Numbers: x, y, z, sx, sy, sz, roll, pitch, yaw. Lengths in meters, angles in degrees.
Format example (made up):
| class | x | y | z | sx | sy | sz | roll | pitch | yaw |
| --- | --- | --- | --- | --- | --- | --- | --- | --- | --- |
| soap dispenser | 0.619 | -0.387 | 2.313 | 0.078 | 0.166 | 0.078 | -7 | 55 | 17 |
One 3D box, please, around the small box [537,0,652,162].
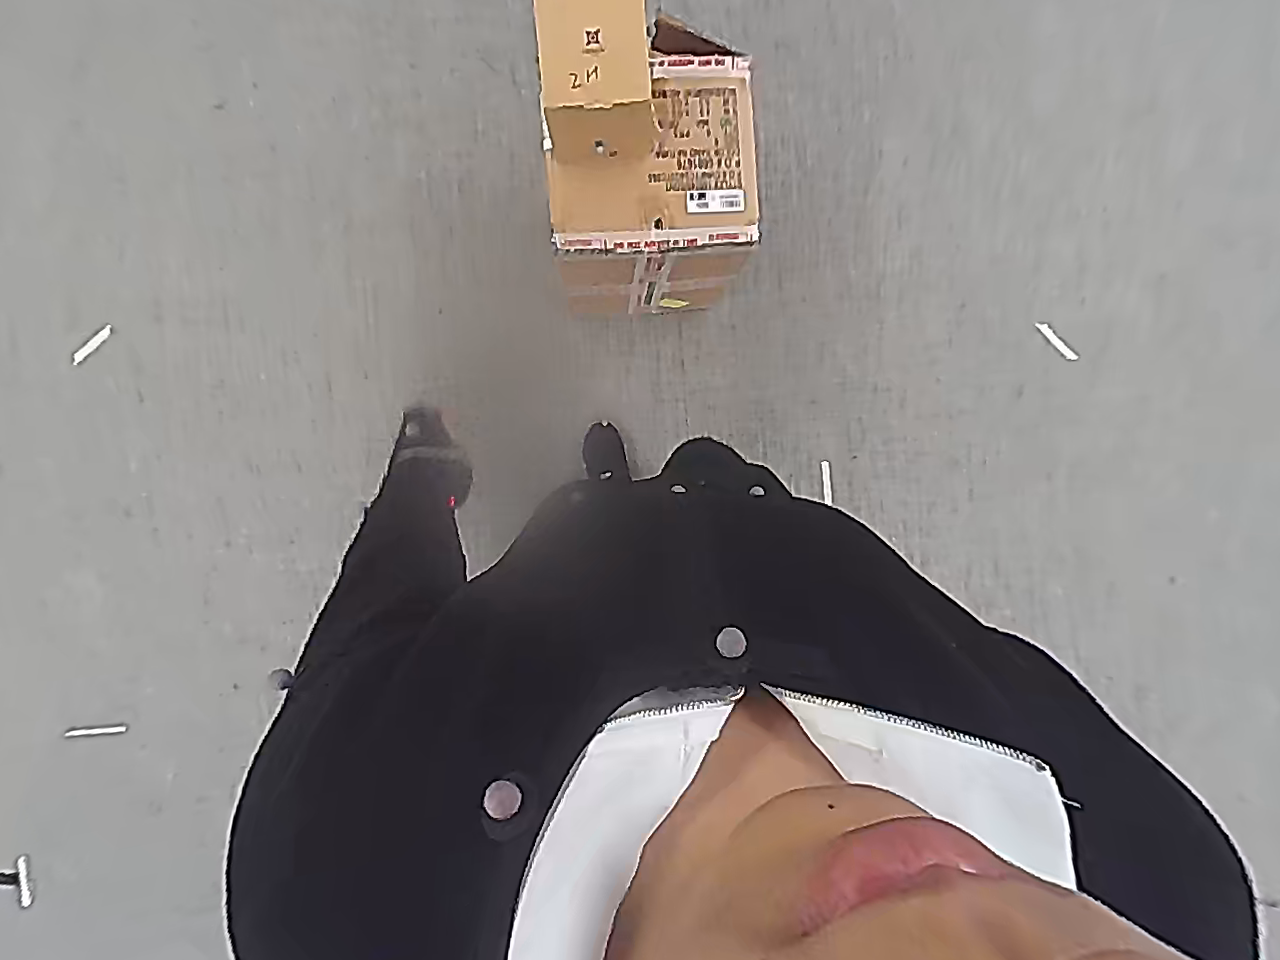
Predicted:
| class | x | y | z | sx | sy | sz | roll | pitch | yaw |
| --- | --- | --- | --- | --- | --- | --- | --- | --- | --- |
| small box | -0.071 | -0.655 | 0.884 | 0.168 | 0.176 | 0.179 | -5 | 96 | -1 |
